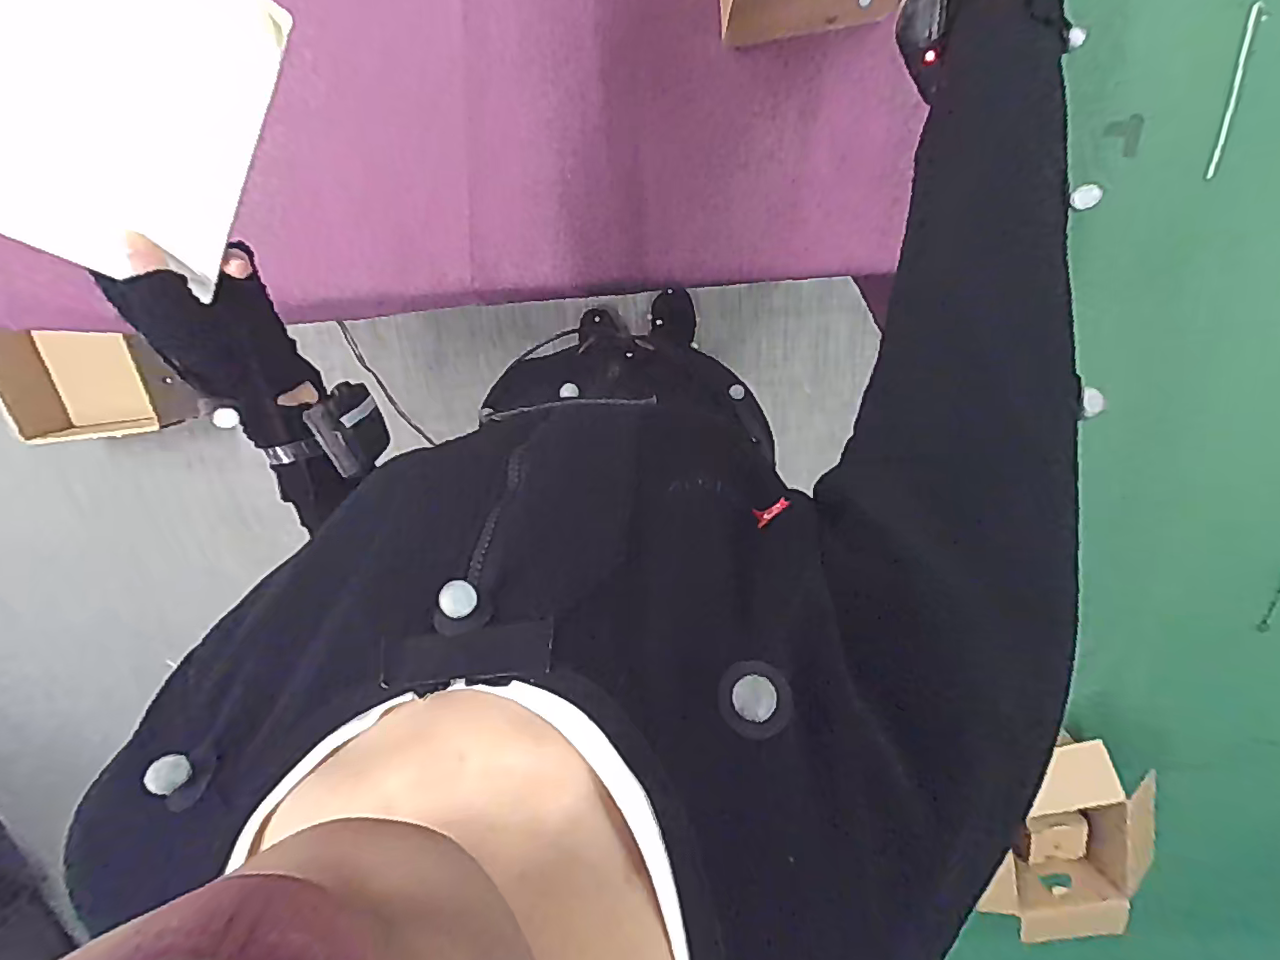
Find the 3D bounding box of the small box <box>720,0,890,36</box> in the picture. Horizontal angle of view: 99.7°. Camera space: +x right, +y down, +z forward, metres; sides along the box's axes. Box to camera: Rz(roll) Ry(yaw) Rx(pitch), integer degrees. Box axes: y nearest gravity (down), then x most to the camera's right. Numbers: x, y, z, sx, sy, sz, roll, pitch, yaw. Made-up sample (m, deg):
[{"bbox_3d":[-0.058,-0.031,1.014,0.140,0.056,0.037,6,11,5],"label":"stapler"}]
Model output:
[{"bbox_3d":[0.153,-0.513,0.456,0.168,0.176,0.179,-5,110,5],"label":"small box"}]
